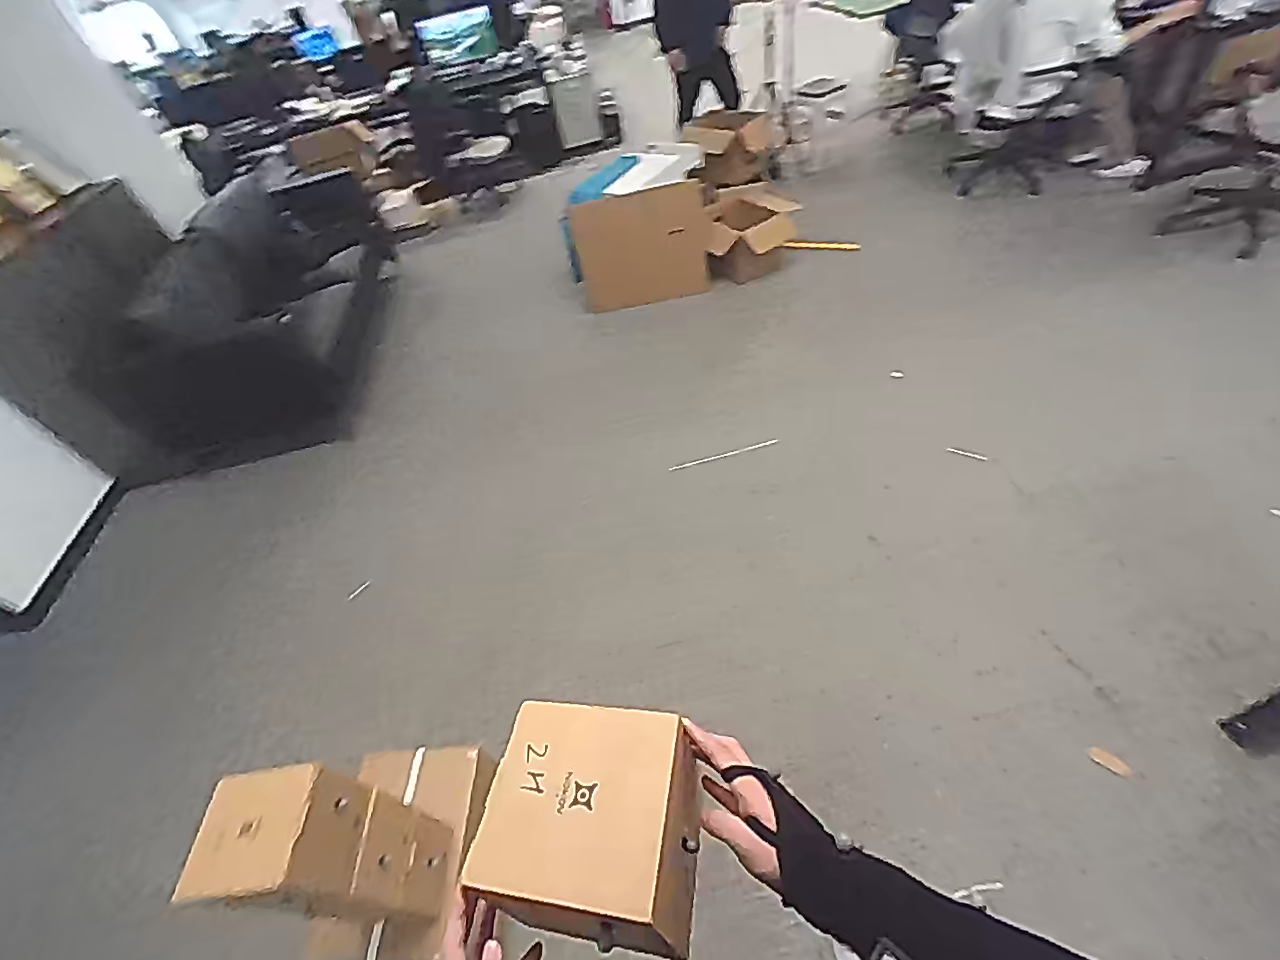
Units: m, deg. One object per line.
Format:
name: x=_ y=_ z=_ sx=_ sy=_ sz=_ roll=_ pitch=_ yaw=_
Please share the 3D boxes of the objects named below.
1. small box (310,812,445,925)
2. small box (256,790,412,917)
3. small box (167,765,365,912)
small box: x=-0.524 y=0.800 z=1.112 sx=0.179 sy=0.176 sz=0.168 roll=-9 pitch=46 yaw=4
small box: x=-0.550 y=0.689 z=0.995 sx=0.179 sy=0.176 sz=0.168 roll=-10 pitch=47 yaw=5
small box: x=-0.583 y=0.583 z=0.876 sx=0.179 sy=0.176 sz=0.168 roll=-11 pitch=46 yaw=4
